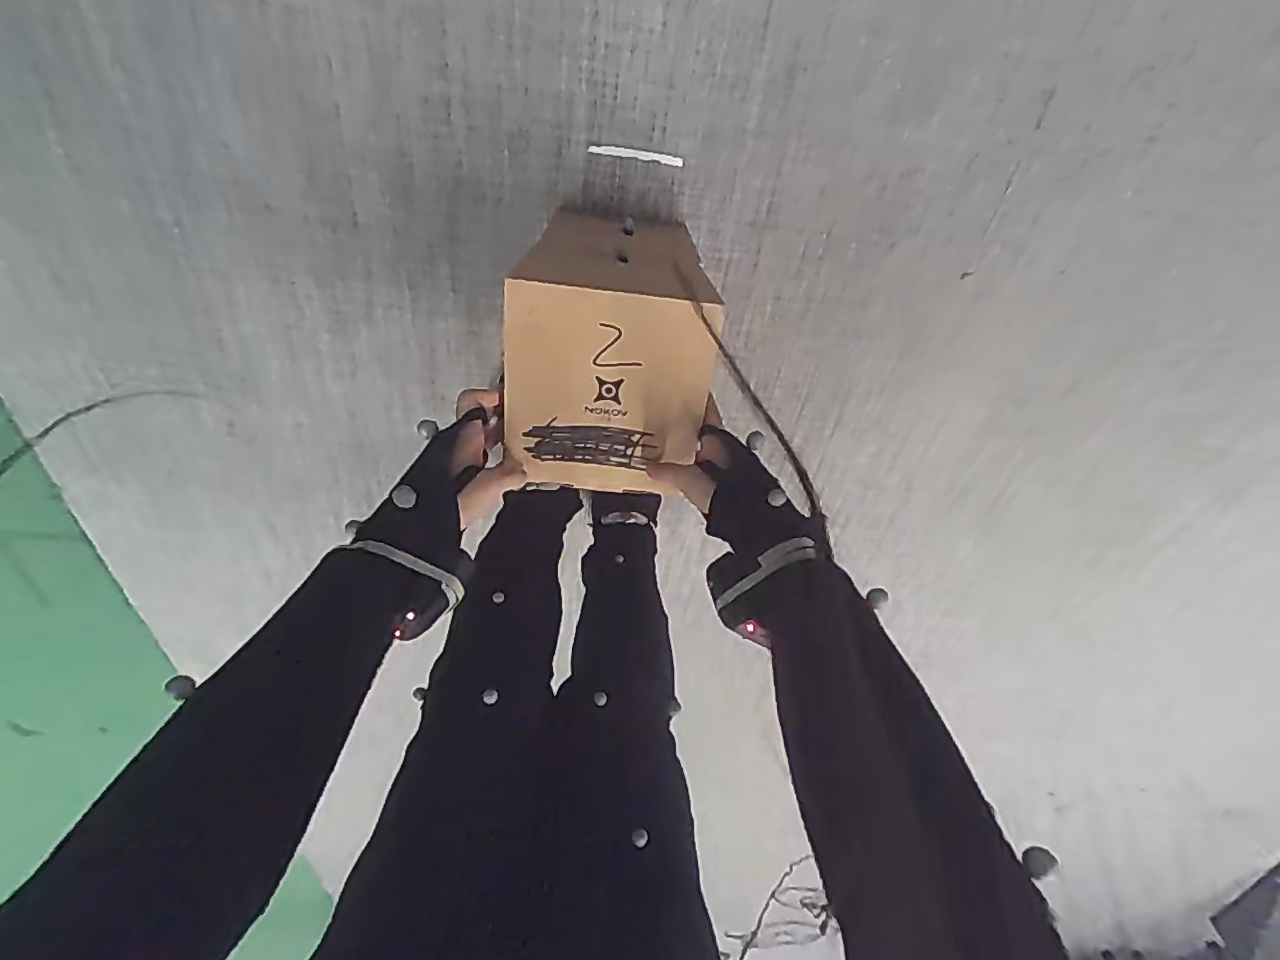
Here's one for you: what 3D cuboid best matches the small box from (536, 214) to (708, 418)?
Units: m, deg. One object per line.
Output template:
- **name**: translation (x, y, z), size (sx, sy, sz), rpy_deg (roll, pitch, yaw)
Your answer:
- **small box**: translation (-0.027, -0.197, 0.639), size (0.168, 0.176, 0.179), rpy_deg (7, 127, -6)
